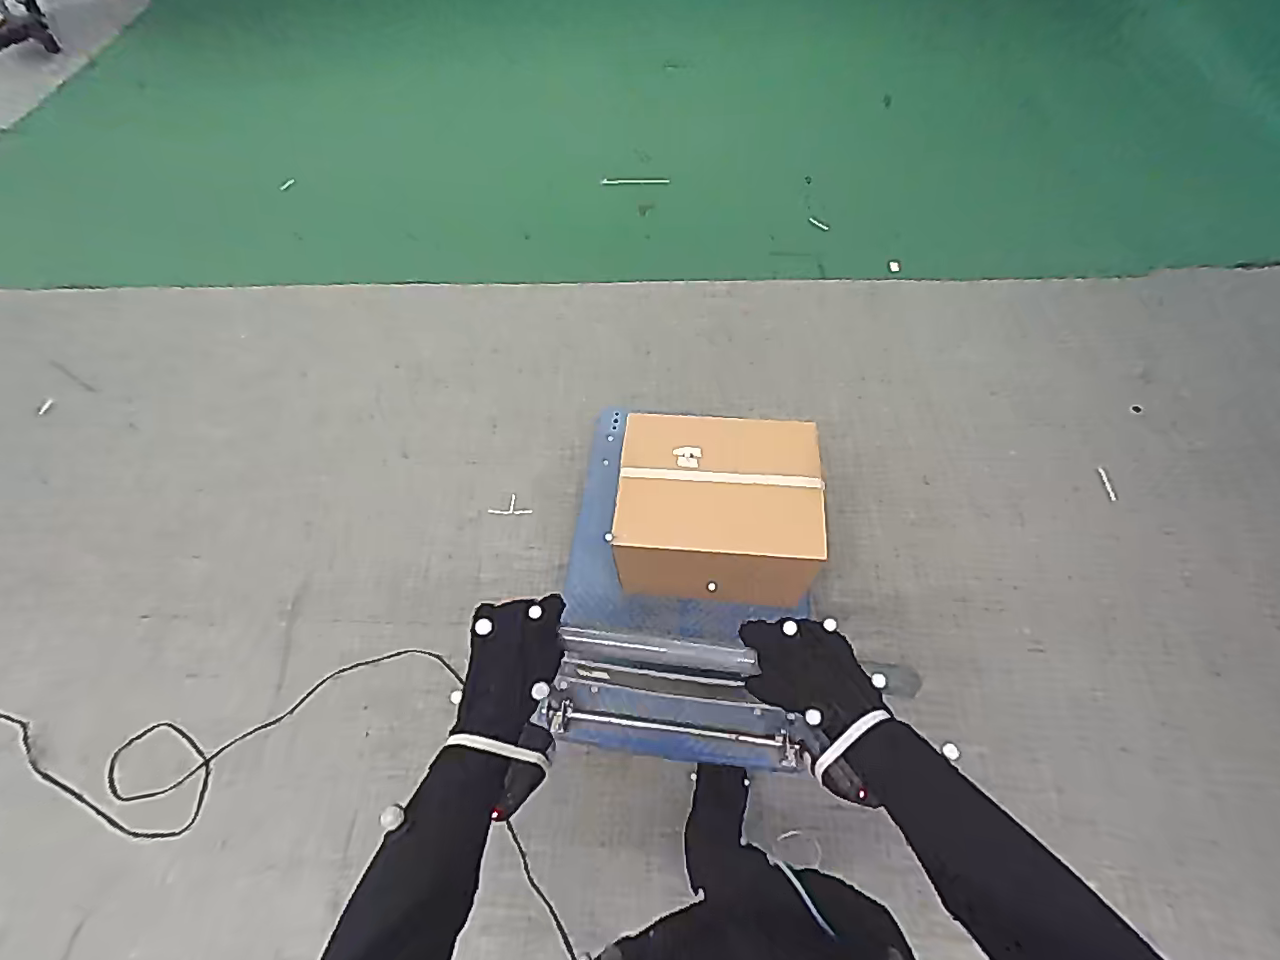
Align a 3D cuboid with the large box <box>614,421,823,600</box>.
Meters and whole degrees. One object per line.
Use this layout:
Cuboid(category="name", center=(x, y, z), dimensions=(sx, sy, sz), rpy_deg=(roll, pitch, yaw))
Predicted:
Cuboid(category="large box", center=(0.169, 0.078, 1.231), dimensions=(0.408, 0.320, 0.320), rpy_deg=(2, 61, 6))
